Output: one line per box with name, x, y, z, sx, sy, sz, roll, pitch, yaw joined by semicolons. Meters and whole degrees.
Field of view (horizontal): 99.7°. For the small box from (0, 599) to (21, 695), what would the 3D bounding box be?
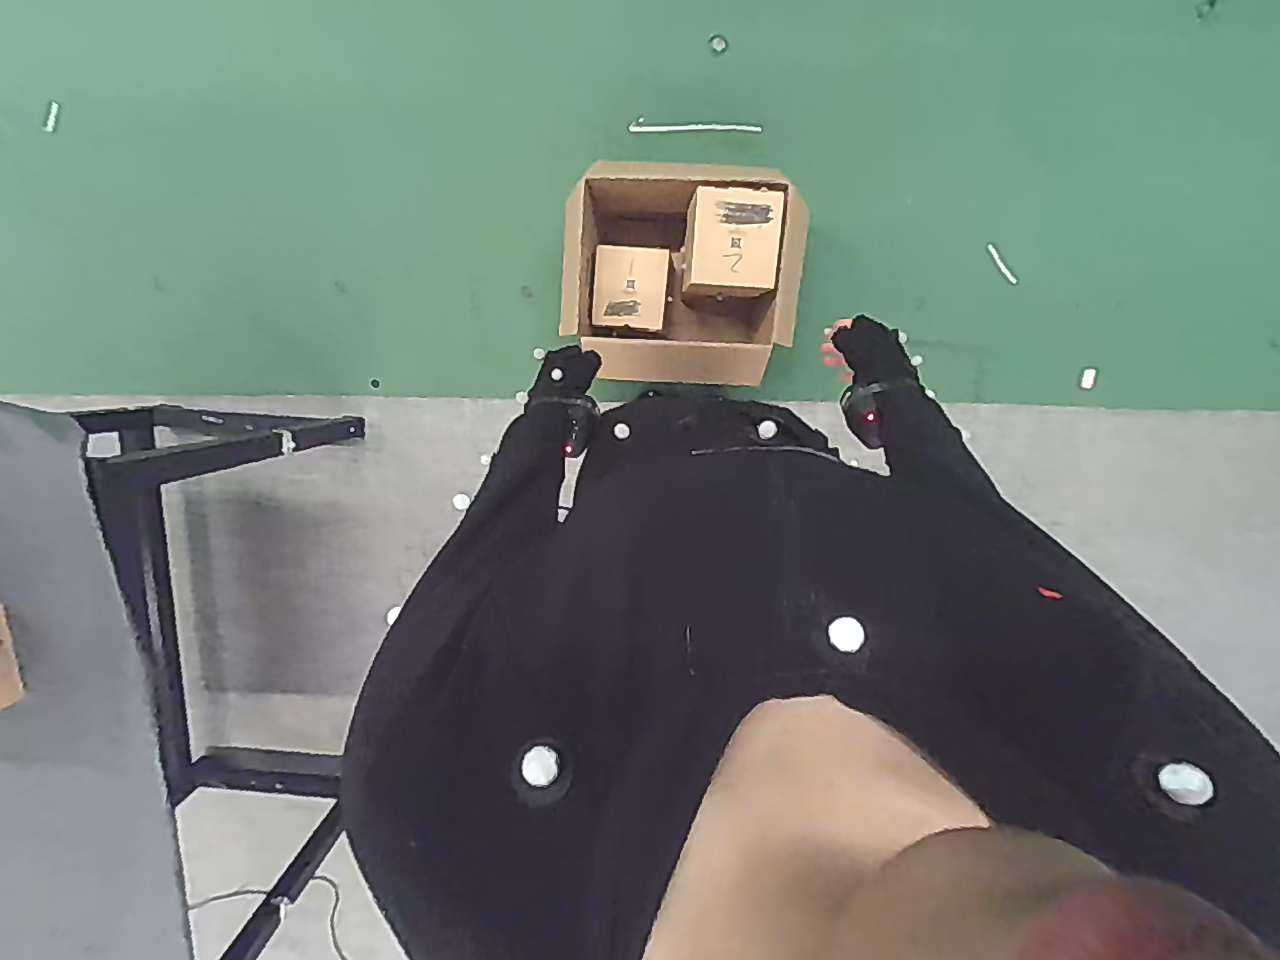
small box;-1.058;0.265;0.761;0.179;0.176;0.168;3;103;2
